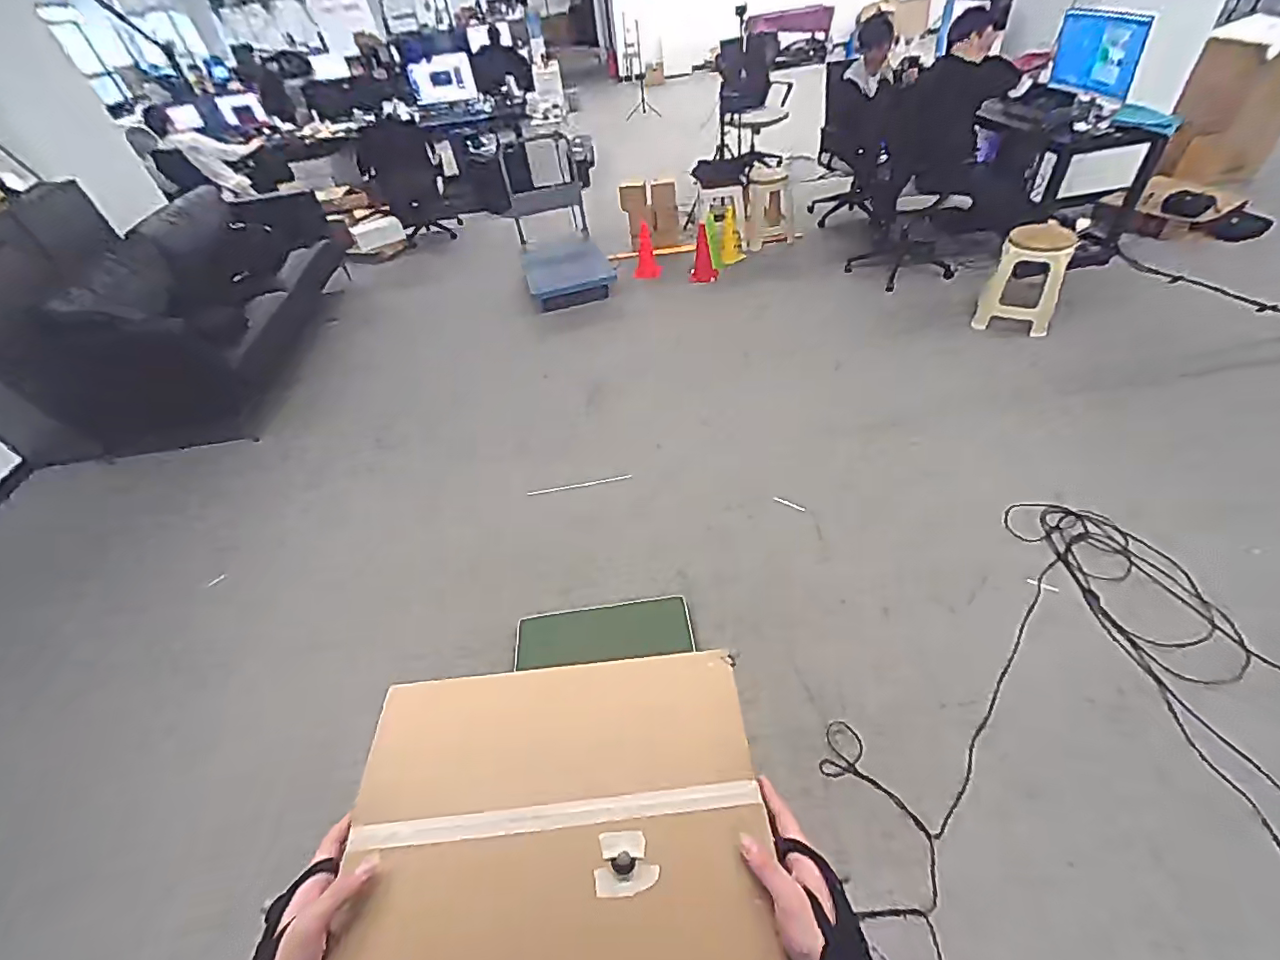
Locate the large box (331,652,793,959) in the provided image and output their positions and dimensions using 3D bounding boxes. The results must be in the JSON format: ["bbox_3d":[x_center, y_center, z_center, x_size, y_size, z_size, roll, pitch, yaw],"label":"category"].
[{"bbox_3d":[-0.073,0.442,0.644,0.408,0.320,0.320,-6,44,-1],"label":"large box"}]
